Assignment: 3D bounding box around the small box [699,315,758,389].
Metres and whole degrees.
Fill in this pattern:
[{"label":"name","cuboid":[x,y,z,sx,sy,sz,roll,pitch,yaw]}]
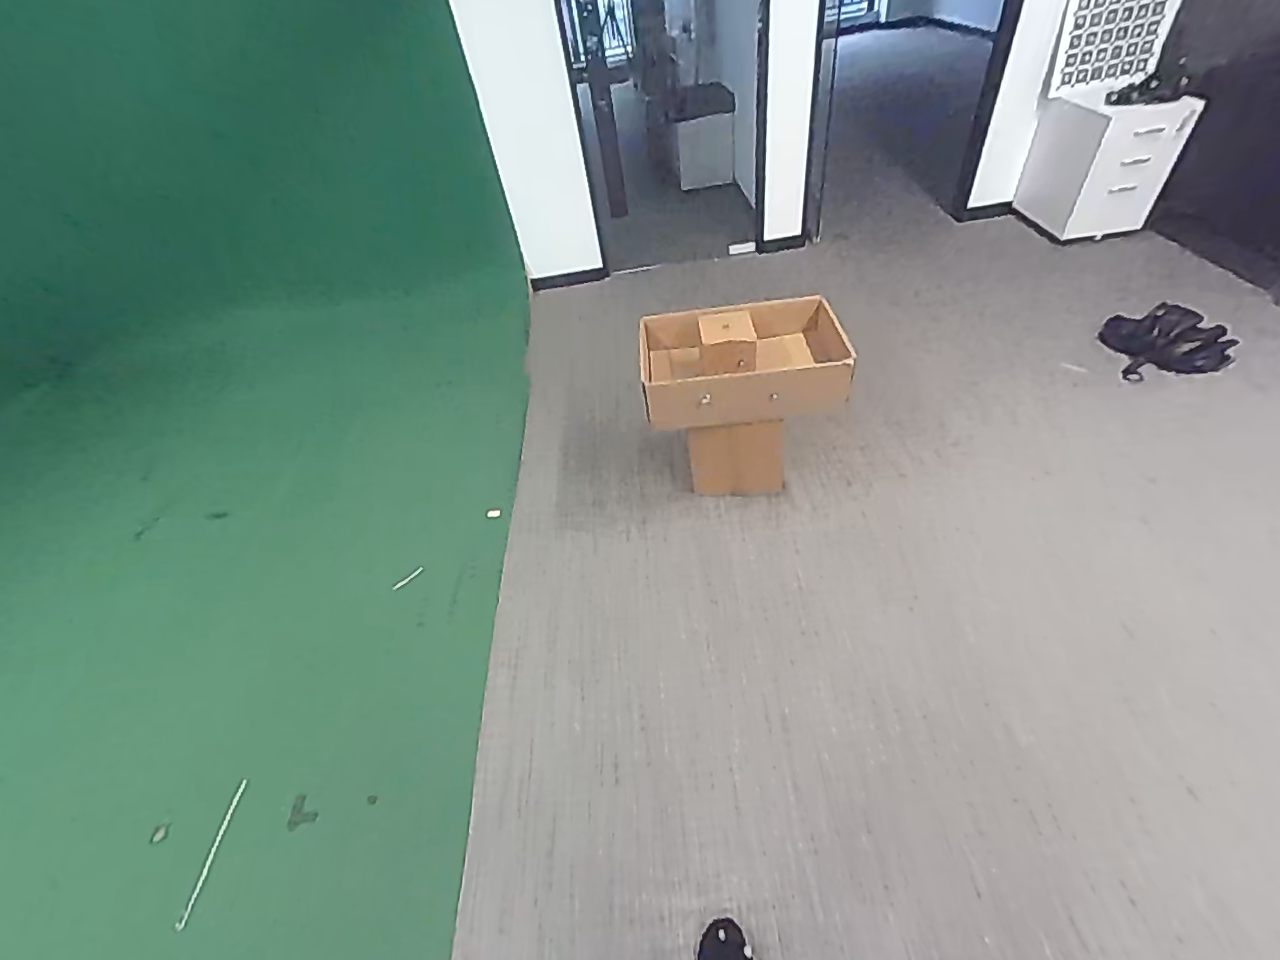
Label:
[{"label":"small box","cuboid":[0.283,-0.405,1.735,0.168,0.176,0.179,-4,43,3]}]
